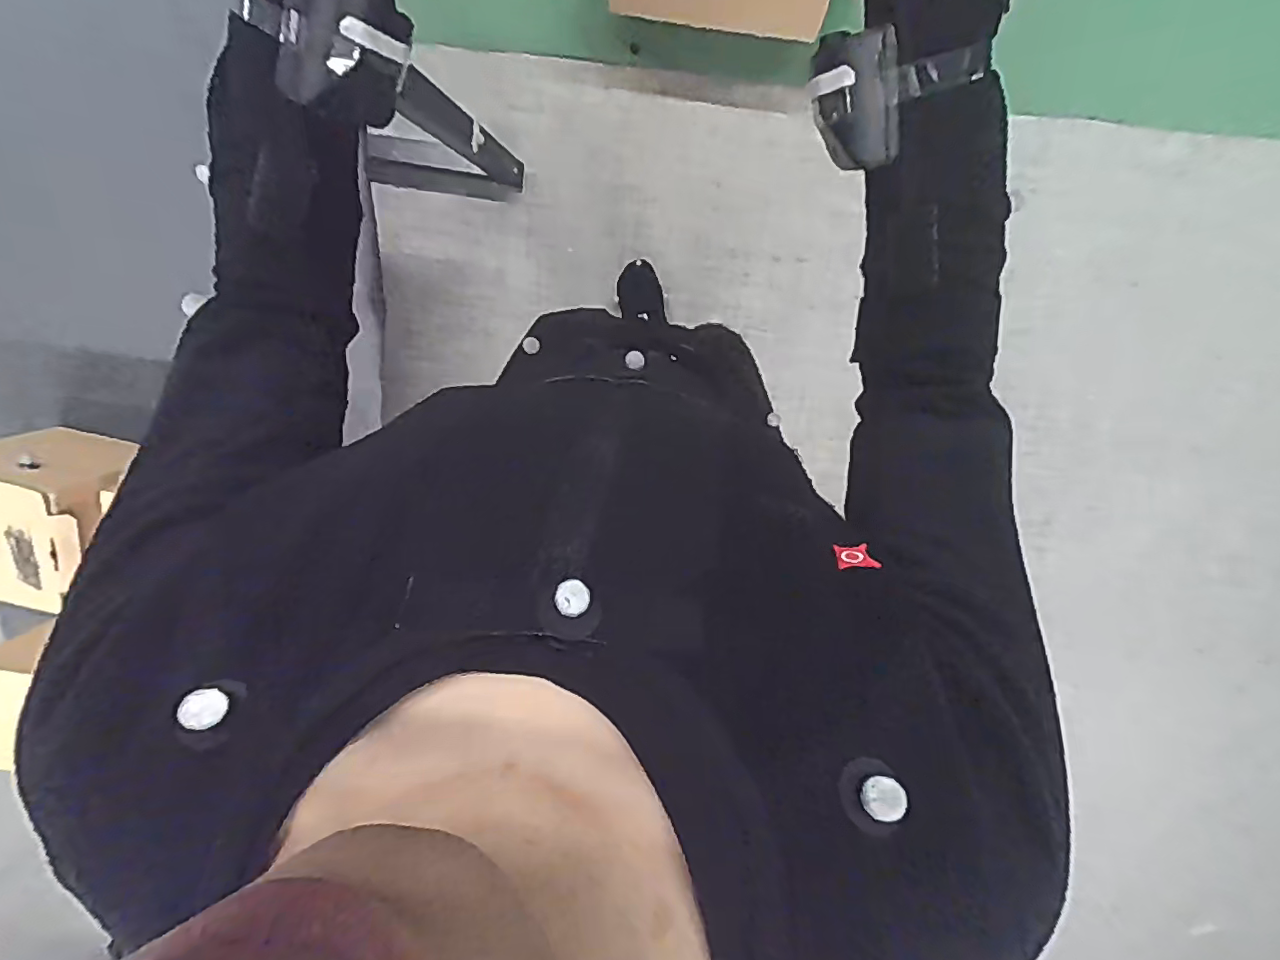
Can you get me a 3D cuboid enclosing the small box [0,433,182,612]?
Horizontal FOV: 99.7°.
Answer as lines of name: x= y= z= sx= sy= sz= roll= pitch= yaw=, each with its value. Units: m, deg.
small box: x=-0.754 y=0.045 z=0.716 sx=0.179 sy=0.176 sz=0.168 roll=13 pitch=108 yaw=1
